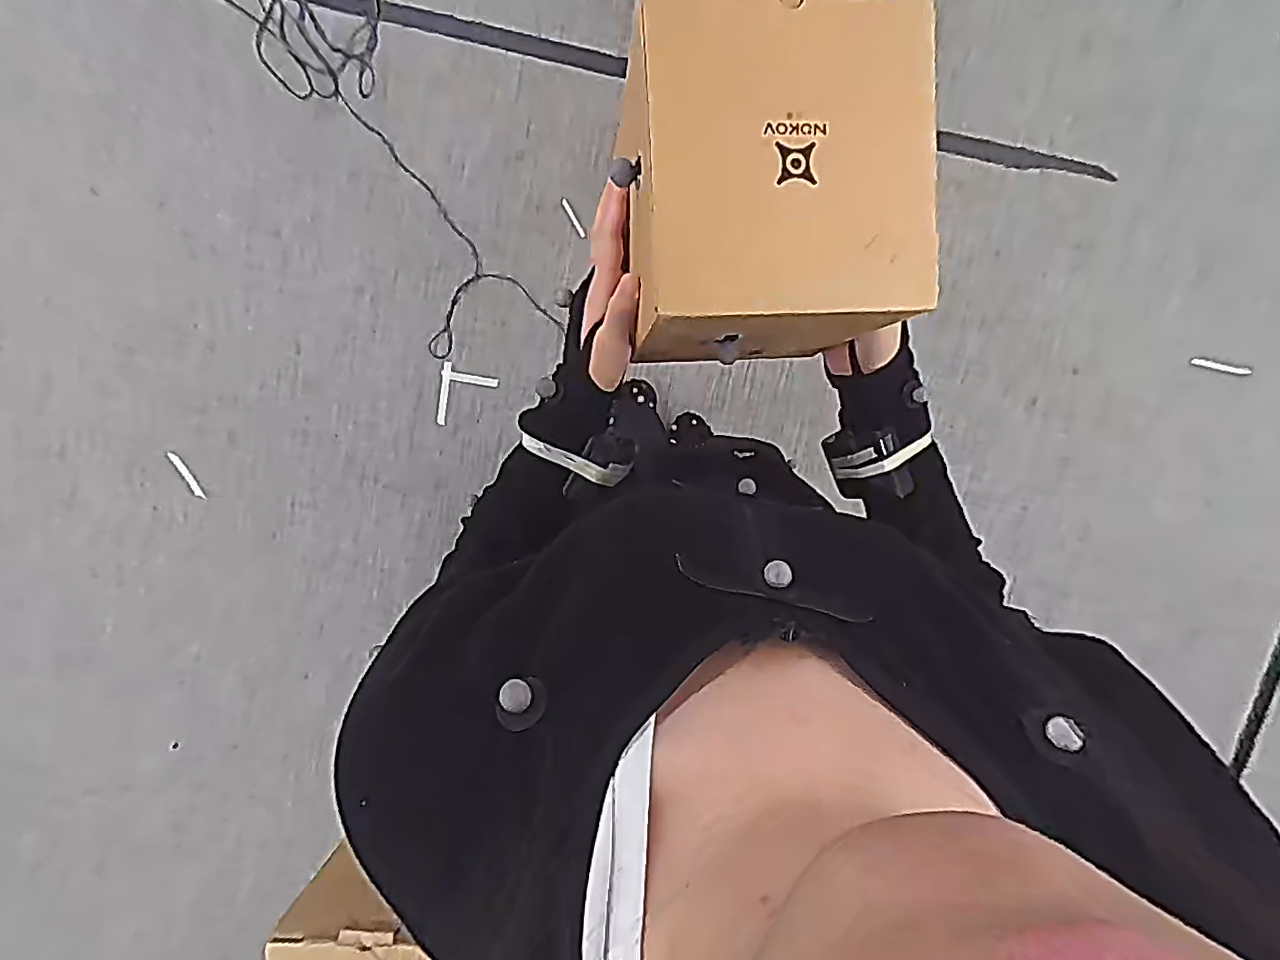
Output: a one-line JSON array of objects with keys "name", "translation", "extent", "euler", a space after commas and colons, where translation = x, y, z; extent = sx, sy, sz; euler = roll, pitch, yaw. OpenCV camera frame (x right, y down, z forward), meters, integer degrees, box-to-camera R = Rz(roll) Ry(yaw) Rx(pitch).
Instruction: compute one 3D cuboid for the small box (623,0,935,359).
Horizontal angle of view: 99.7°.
[{"name": "small box", "translation": [0.079, -0.185, 0.383], "extent": [0.168, 0.176, 0.179], "euler": [-4, 92, -7]}]
